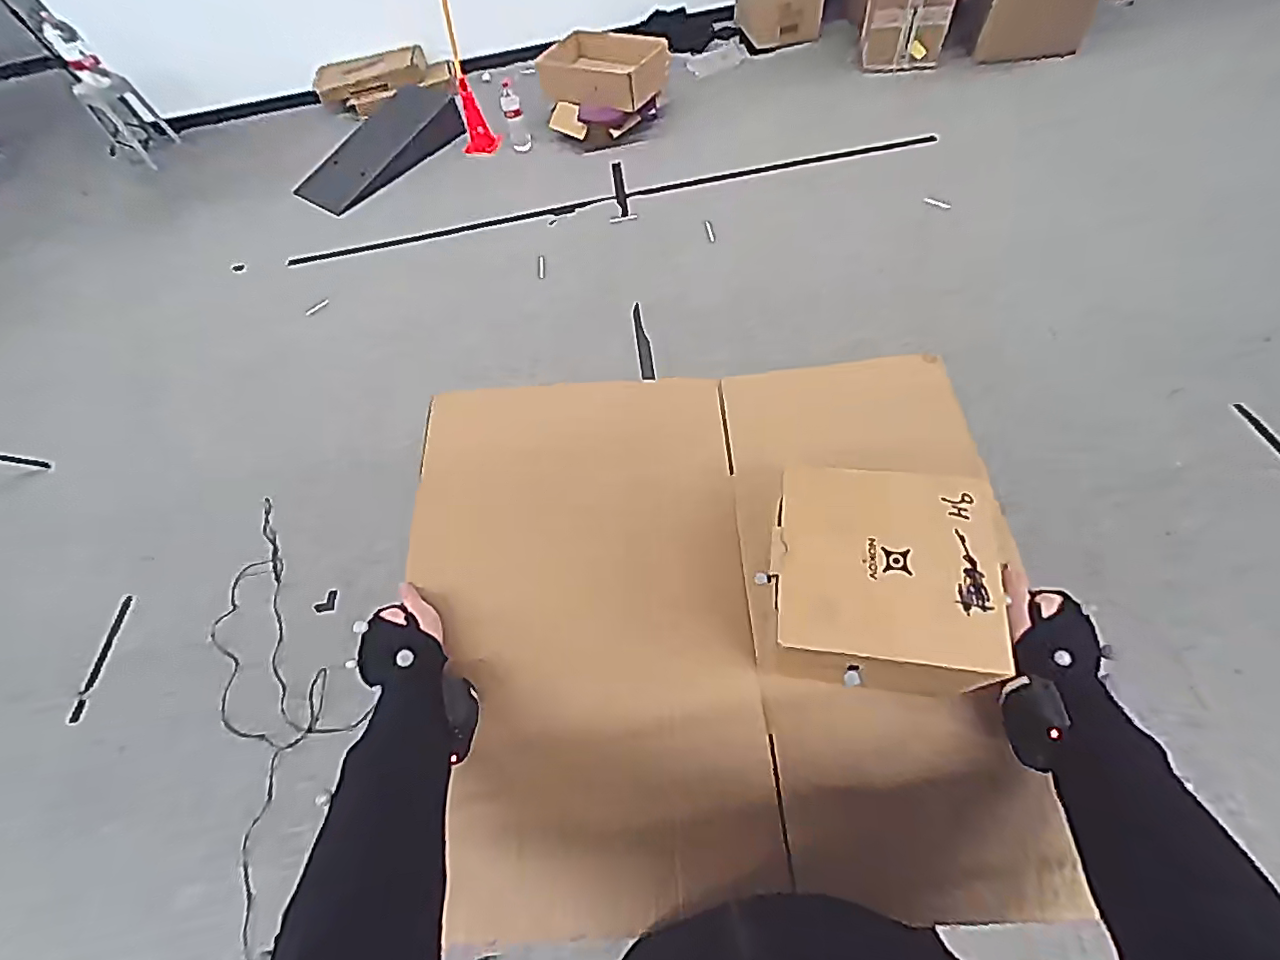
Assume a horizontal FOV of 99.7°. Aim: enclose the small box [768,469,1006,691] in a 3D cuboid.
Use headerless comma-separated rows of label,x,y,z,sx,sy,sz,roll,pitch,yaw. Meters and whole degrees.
small box,0.220,0.104,0.532,0.179,0.176,0.168,4,64,12
